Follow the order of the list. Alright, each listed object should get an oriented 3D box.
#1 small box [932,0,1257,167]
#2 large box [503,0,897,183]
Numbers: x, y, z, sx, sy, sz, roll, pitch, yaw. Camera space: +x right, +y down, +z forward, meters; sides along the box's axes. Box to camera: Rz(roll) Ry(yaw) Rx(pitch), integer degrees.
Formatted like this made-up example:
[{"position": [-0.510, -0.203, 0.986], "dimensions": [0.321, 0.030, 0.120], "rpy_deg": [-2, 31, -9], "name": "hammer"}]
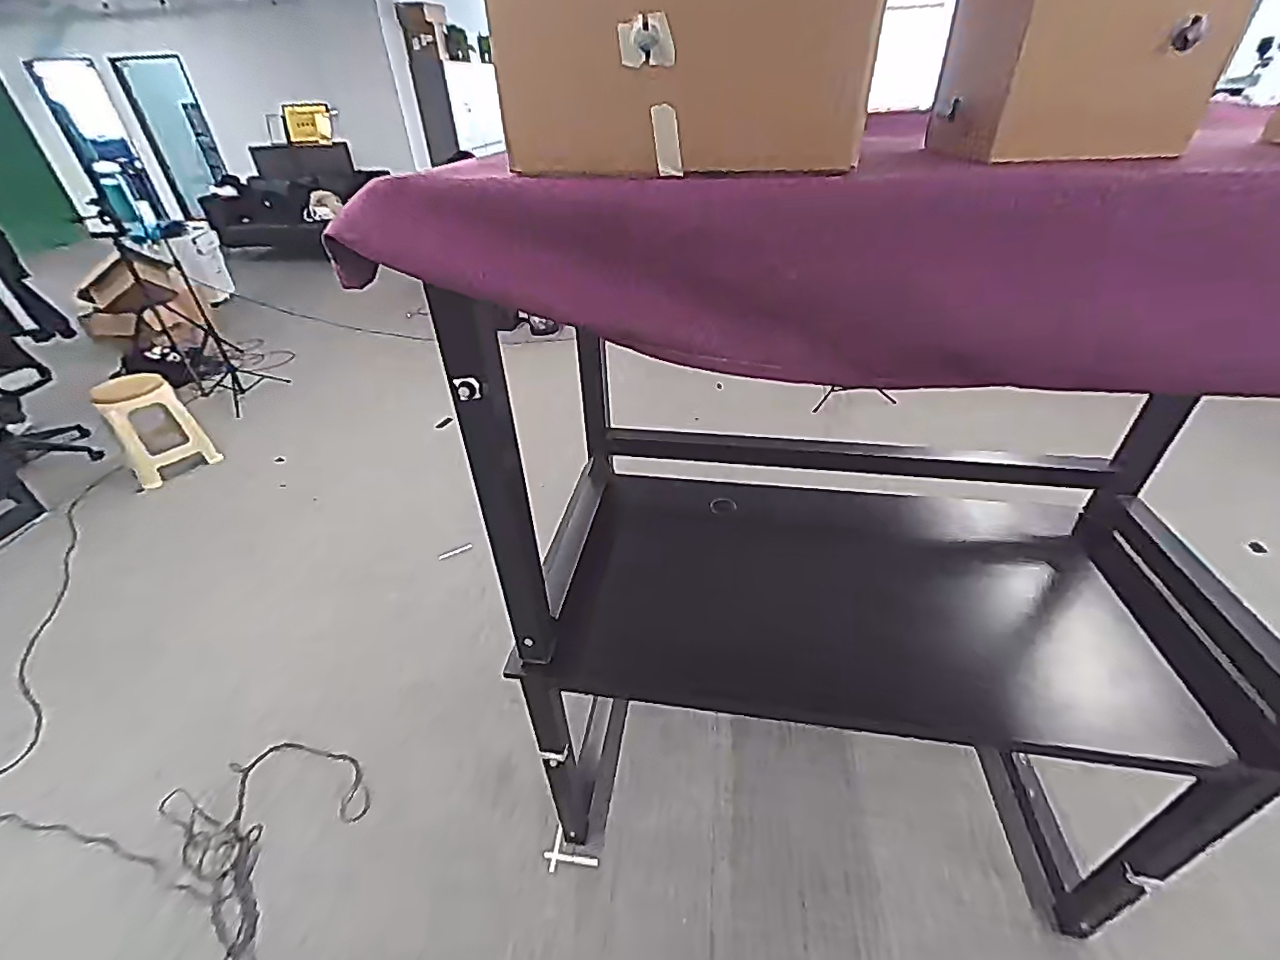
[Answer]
[{"position": [0.414, -0.405, 0.513], "dimensions": [0.179, 0.176, 0.168], "rpy_deg": [0, 35, 4], "name": "small box"}, {"position": [0.070, -0.497, 0.546], "dimensions": [0.320, 0.320, 0.408], "rpy_deg": [6, 35, 10], "name": "large box"}]
